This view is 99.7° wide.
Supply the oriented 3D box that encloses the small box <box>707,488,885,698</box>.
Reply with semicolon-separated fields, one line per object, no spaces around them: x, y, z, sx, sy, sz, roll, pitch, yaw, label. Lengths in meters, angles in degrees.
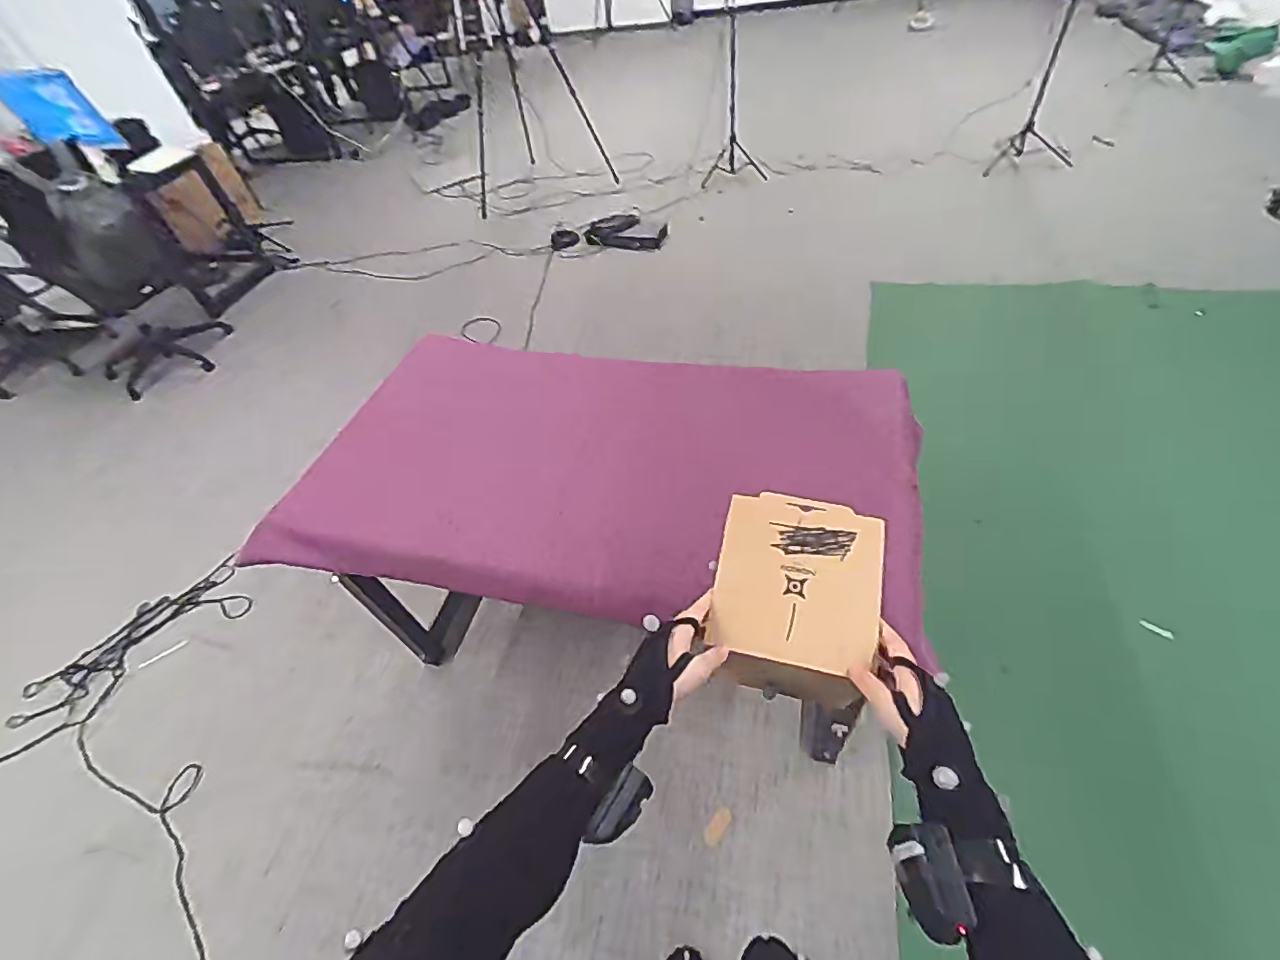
0.175;0.135;0.632;0.168;0.176;0.179;10;62;14;small box
